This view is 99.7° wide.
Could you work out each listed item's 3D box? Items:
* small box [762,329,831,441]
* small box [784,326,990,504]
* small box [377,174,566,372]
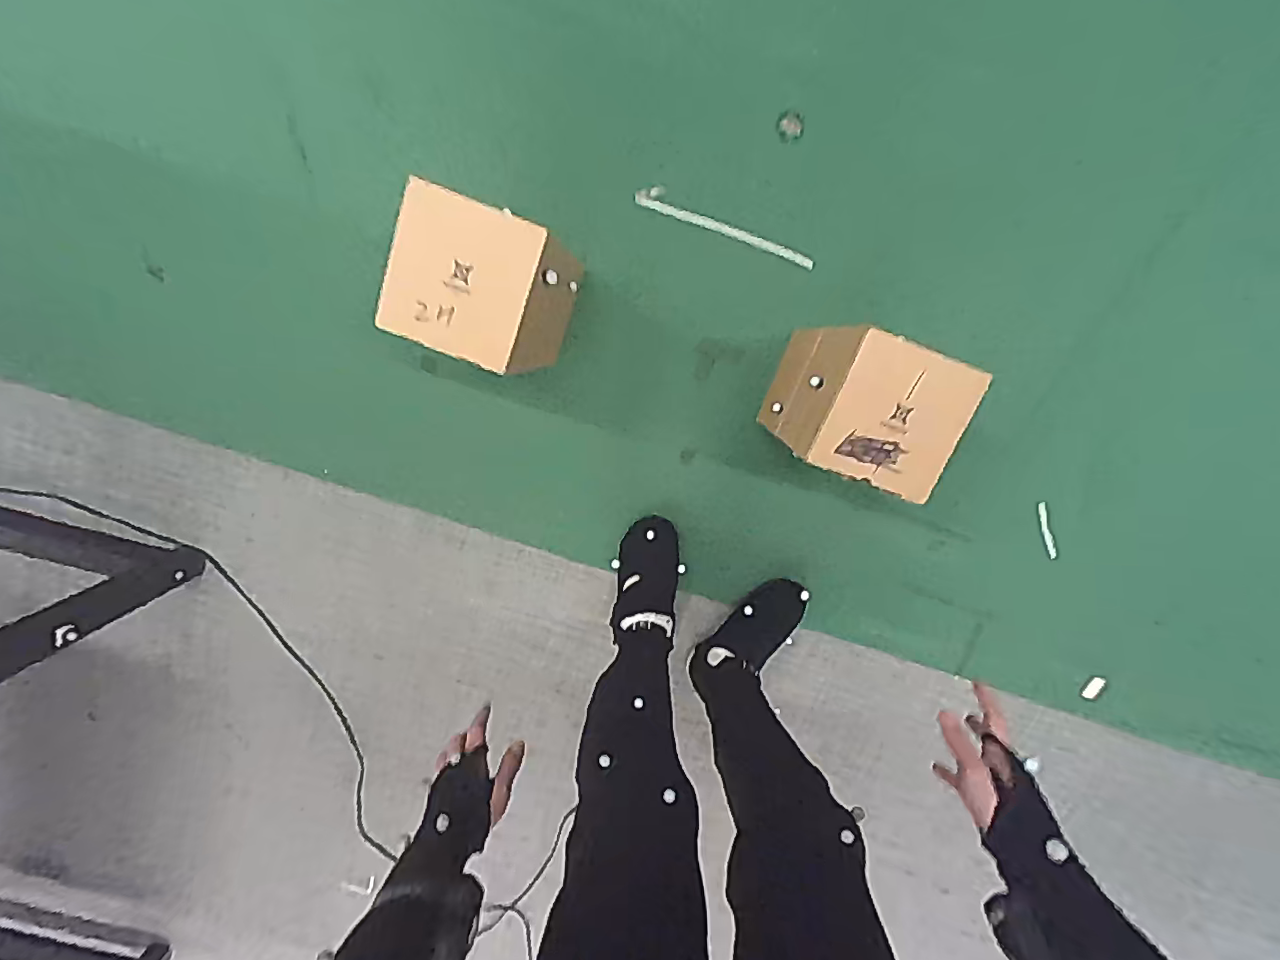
[{"bbox_3d":[0.317,-0.137,0.891,0.168,0.176,0.179,20,105,-4],"label":"small box"},{"bbox_3d":[0.313,-0.095,0.733,0.168,0.176,0.179,21,104,-5],"label":"small box"},{"bbox_3d":[-0.204,-0.254,0.704,0.168,0.176,0.179,21,103,-3],"label":"small box"}]
